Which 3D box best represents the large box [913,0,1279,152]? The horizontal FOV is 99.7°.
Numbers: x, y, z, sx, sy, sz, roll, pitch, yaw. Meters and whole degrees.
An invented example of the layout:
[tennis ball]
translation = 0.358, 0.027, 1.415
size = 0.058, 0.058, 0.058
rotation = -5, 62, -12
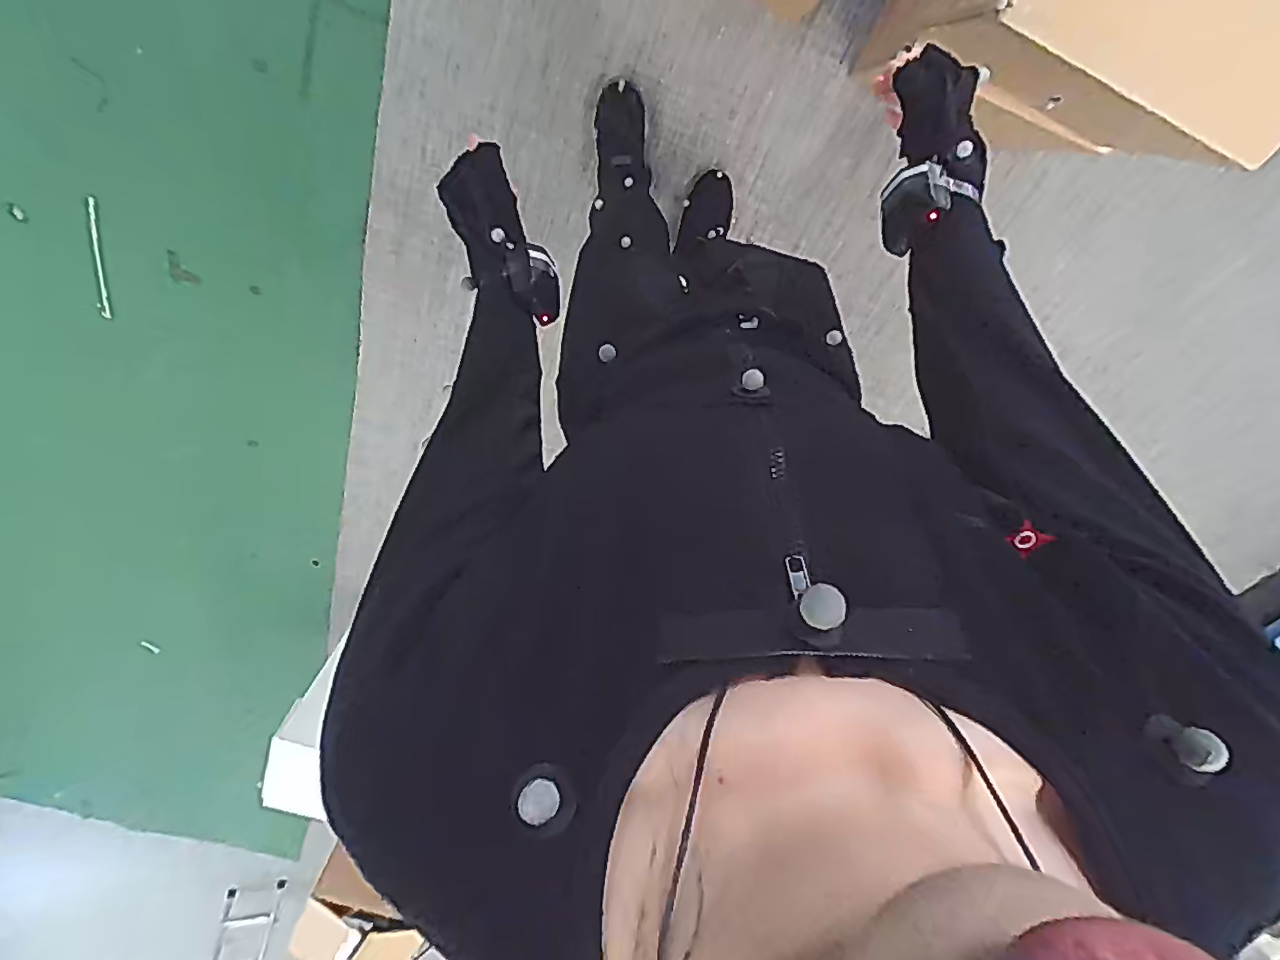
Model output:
[large box]
translation = 0.643, -0.667, 0.668
size = 0.408, 0.320, 0.320
rotation = 20, 126, -9
